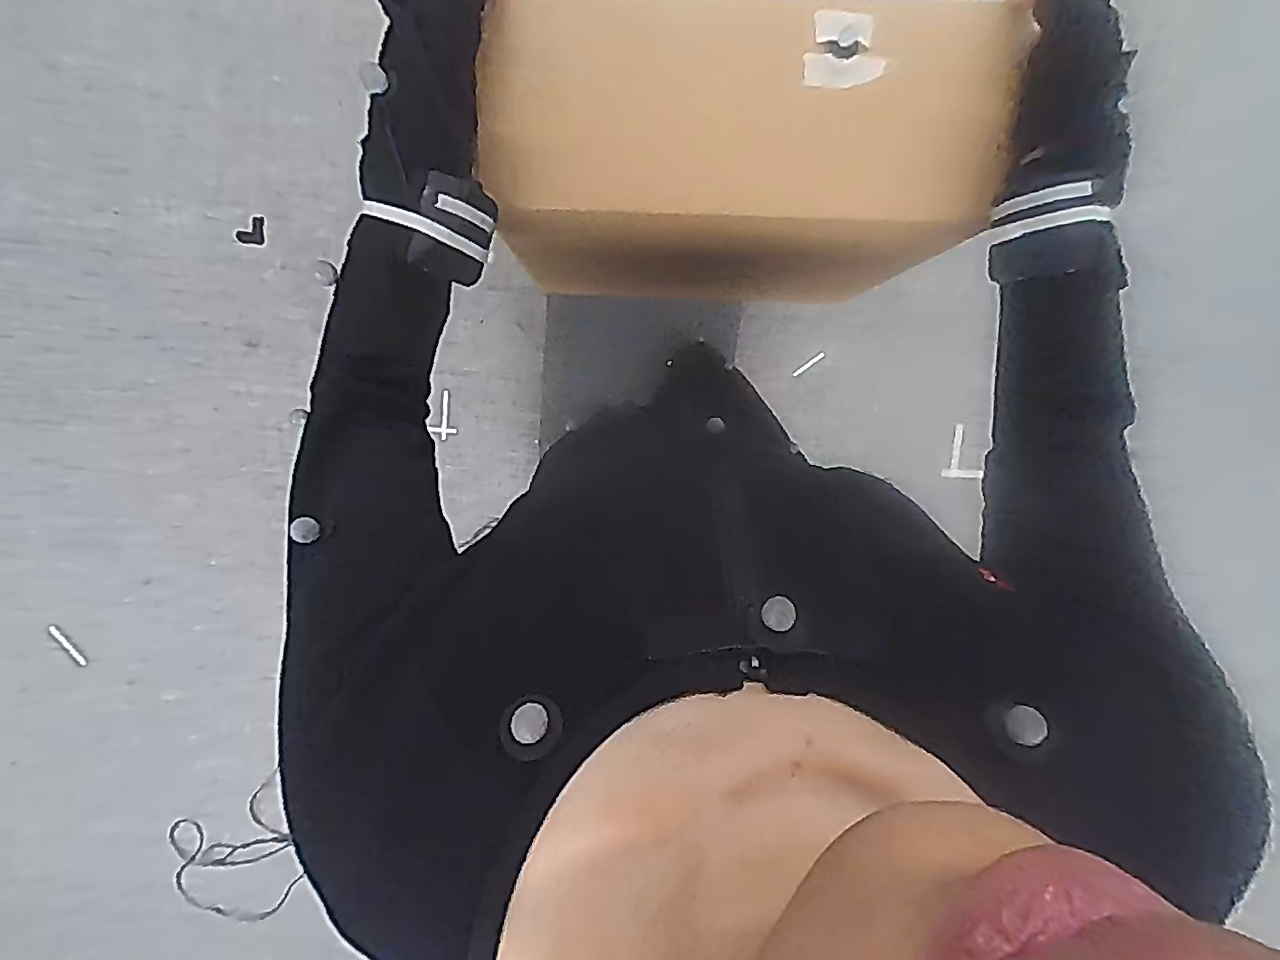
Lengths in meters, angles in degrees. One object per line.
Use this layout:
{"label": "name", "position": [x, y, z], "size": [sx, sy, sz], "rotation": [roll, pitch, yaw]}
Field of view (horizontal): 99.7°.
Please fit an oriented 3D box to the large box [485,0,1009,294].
{"label": "large box", "position": [0.077, -0.382, 0.553], "size": [0.408, 0.320, 0.320], "rotation": [1, 97, -2]}
